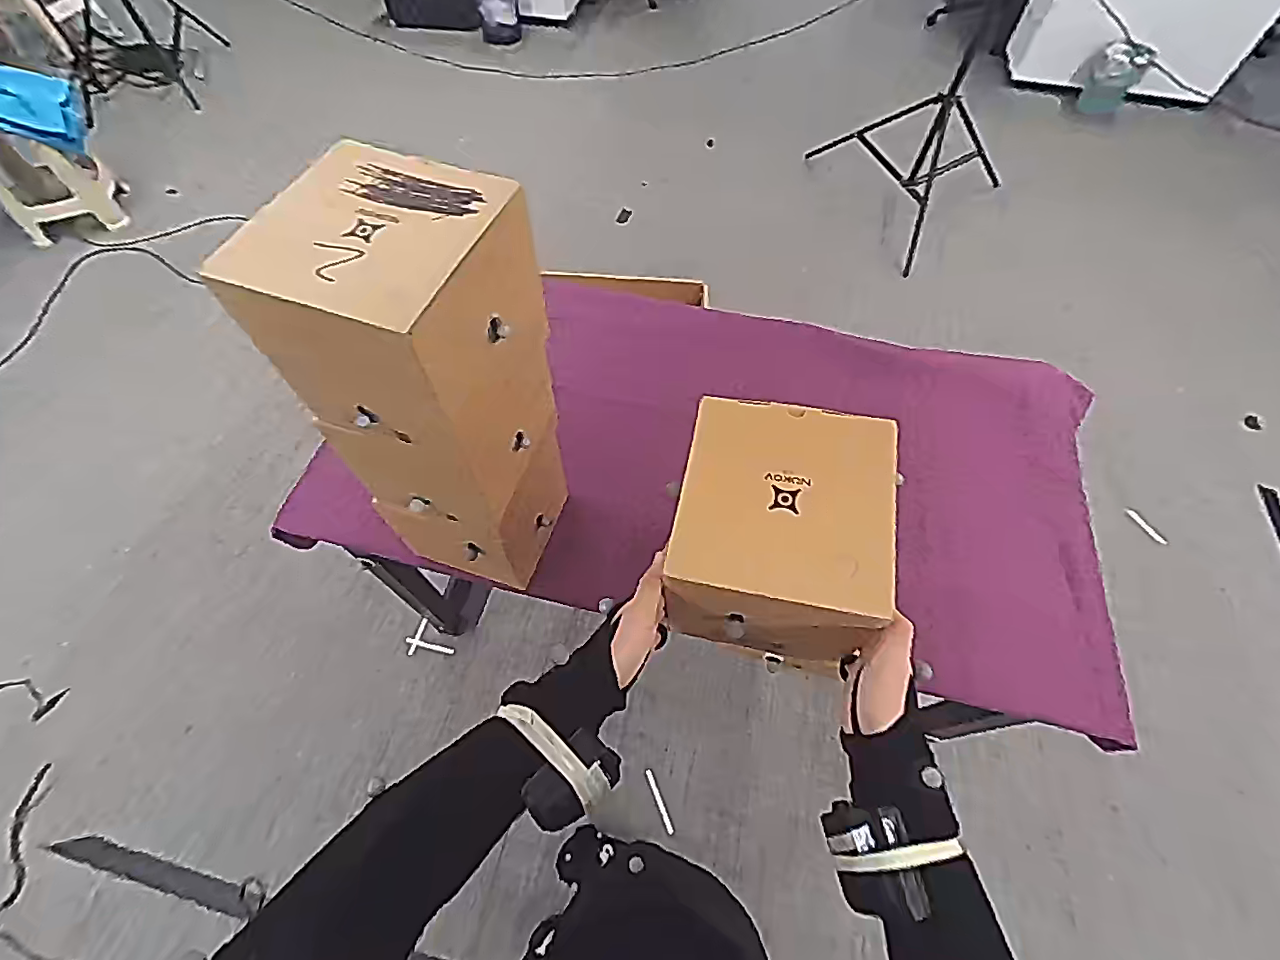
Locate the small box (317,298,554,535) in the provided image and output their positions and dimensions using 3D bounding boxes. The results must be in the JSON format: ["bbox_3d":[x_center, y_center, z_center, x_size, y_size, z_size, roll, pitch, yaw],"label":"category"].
[{"bbox_3d":[-0.204,-0.065,0.604,0.168,0.176,0.179,16,62,8],"label":"small box"}]

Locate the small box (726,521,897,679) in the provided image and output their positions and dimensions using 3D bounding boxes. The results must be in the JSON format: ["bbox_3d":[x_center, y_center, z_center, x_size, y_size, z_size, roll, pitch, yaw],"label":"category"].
[{"bbox_3d":[0.208,0.133,0.686,0.168,0.176,0.179,12,61,8],"label":"small box"}]

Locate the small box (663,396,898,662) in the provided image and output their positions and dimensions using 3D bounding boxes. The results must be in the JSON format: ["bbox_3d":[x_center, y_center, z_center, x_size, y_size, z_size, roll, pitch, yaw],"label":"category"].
[{"bbox_3d":[0.123,0.051,0.491,0.168,0.176,0.179,9,61,11],"label":"small box"}]

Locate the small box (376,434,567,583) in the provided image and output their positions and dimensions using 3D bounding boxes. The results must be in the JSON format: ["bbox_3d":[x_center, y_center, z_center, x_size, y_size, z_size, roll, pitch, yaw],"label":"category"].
[{"bbox_3d":[-0.212,0.025,0.742,0.179,0.176,0.168,16,60,8],"label":"small box"}]
